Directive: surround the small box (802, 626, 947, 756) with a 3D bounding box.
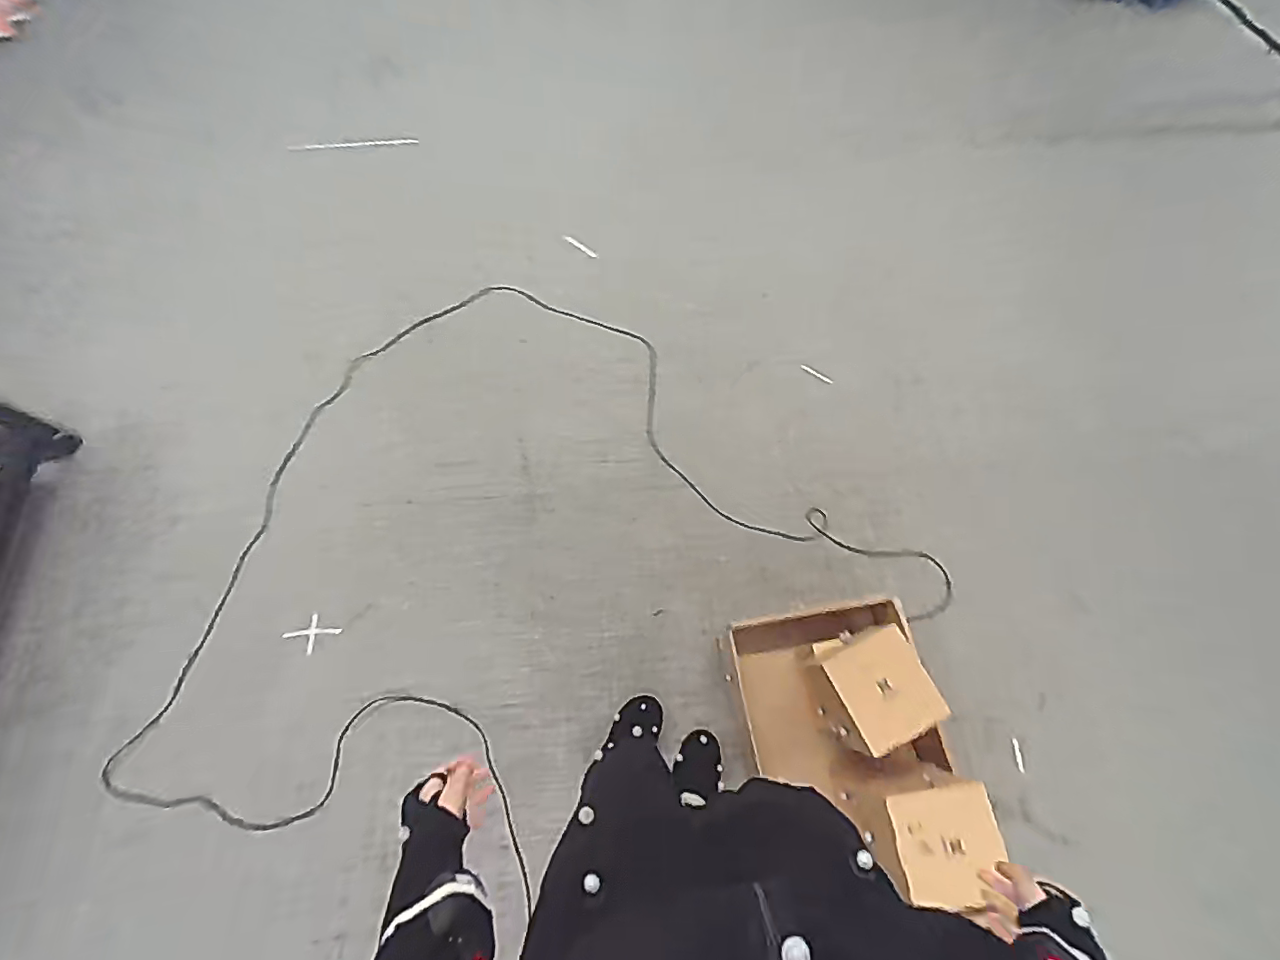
[{"bbox_3d":[0.443,0.402,1.053,0.168,0.176,0.179,-25,72,-6],"label":"small box"}]

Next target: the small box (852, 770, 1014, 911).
[{"bbox_3d":[0.508,0.629,0.965,0.179,0.176,0.168,-7,69,-1],"label":"small box"}]
